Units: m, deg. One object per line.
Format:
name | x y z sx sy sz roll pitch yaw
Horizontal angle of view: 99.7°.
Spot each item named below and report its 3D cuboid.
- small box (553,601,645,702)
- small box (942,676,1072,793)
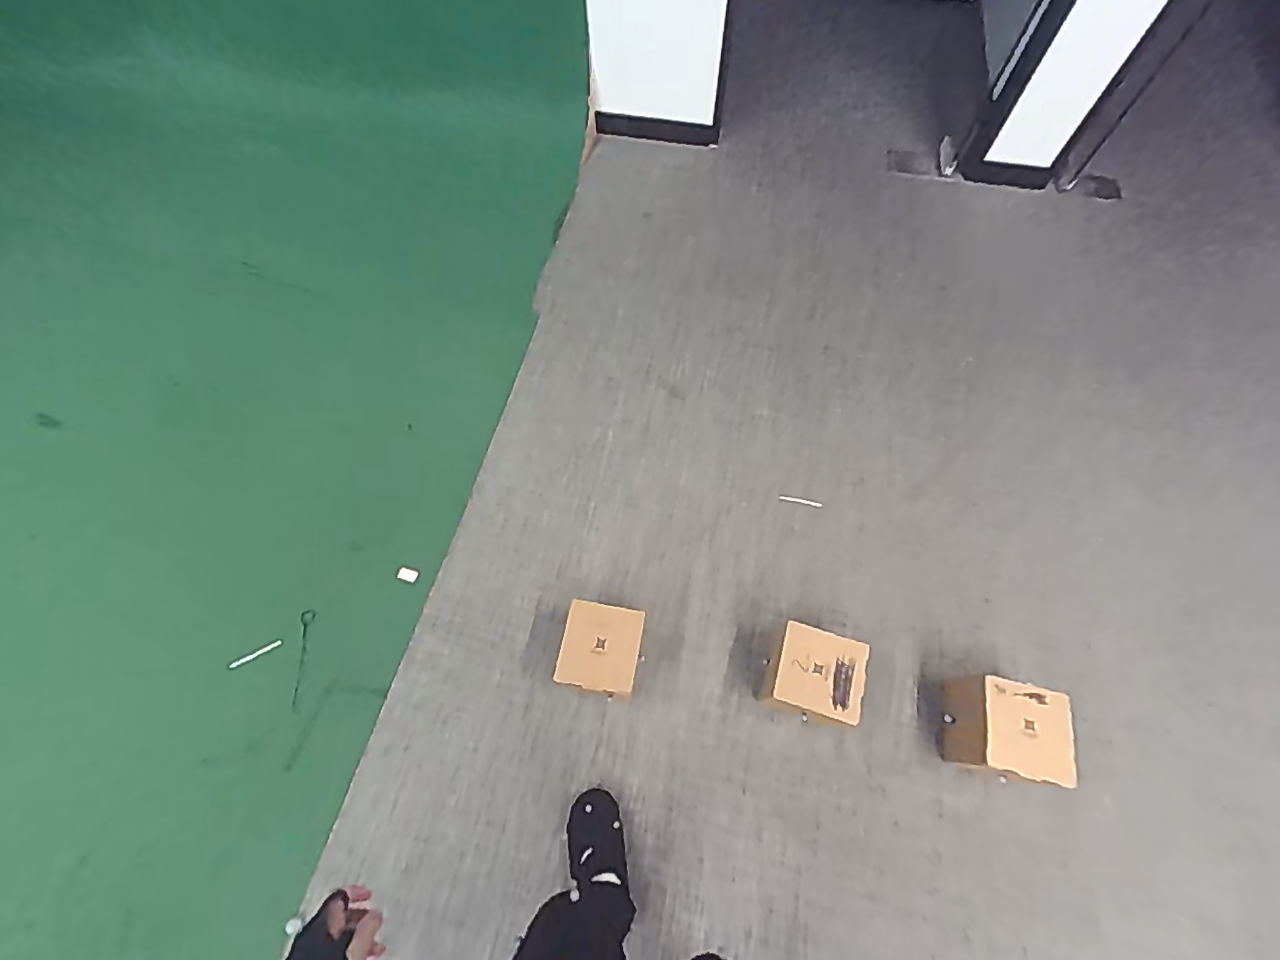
small box | -0.084 0.388 1.208 0.168 0.176 0.179 10 64 4
small box | 0.758 0.529 1.133 0.168 0.176 0.179 14 66 6
